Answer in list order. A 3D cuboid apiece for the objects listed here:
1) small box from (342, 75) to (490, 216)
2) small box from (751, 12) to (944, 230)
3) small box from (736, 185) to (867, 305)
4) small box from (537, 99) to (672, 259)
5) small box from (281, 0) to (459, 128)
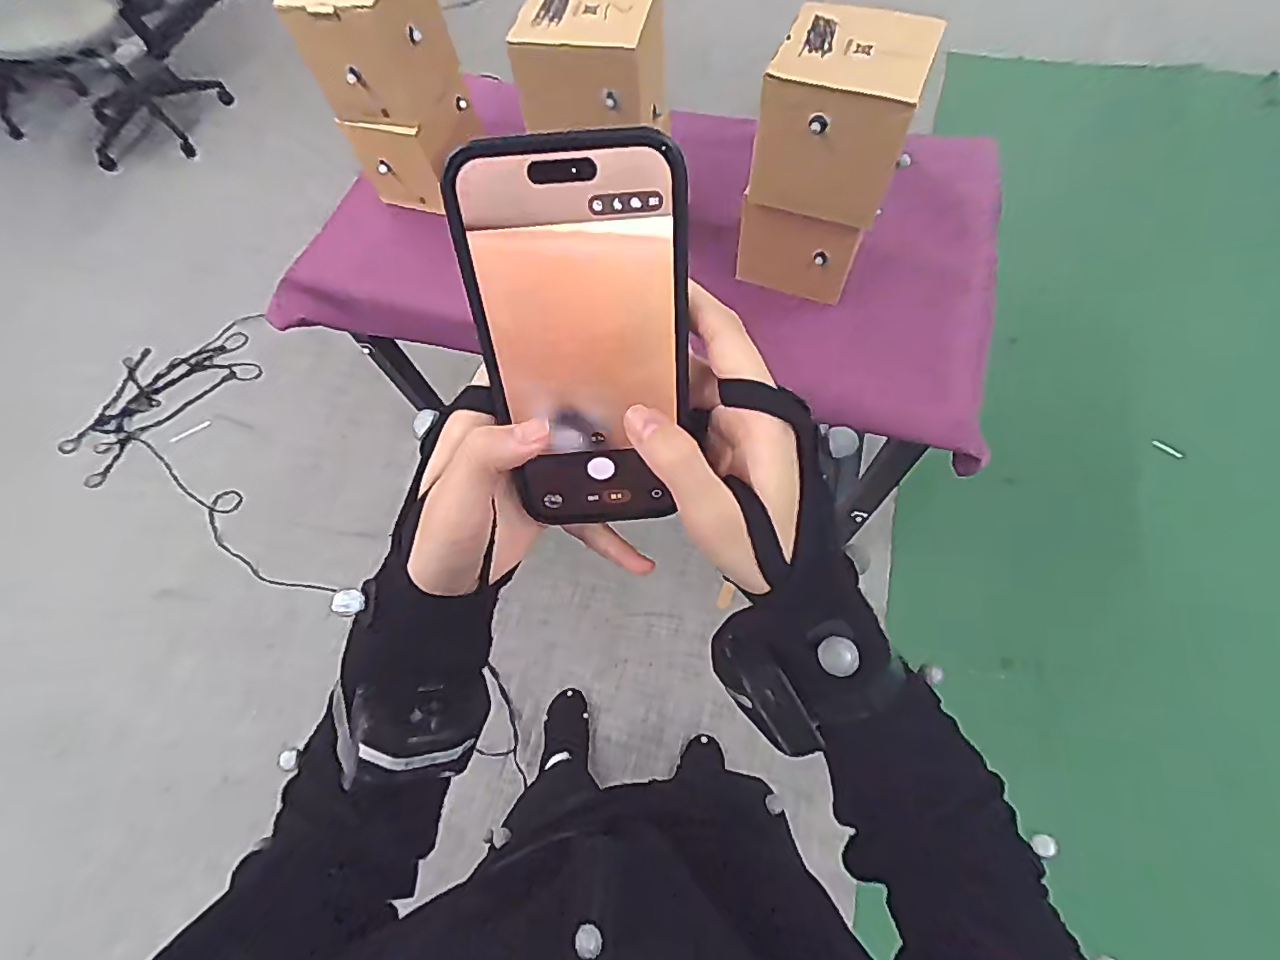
[{"bbox_3d":[-0.410,-0.636,1.025,0.168,0.176,0.179,17,68,12],"label":"small box"},{"bbox_3d":[0.257,-0.460,0.707,0.179,0.176,0.168,22,69,13],"label":"small box"},{"bbox_3d":[0.267,-0.408,0.863,0.179,0.176,0.168,22,69,15],"label":"small box"},{"bbox_3d":[-0.049,-0.513,0.936,0.179,0.176,0.168,16,68,12],"label":"small box"},{"bbox_3d":[-0.420,-0.711,0.879,0.168,0.176,0.179,12,68,9],"label":"small box"}]
